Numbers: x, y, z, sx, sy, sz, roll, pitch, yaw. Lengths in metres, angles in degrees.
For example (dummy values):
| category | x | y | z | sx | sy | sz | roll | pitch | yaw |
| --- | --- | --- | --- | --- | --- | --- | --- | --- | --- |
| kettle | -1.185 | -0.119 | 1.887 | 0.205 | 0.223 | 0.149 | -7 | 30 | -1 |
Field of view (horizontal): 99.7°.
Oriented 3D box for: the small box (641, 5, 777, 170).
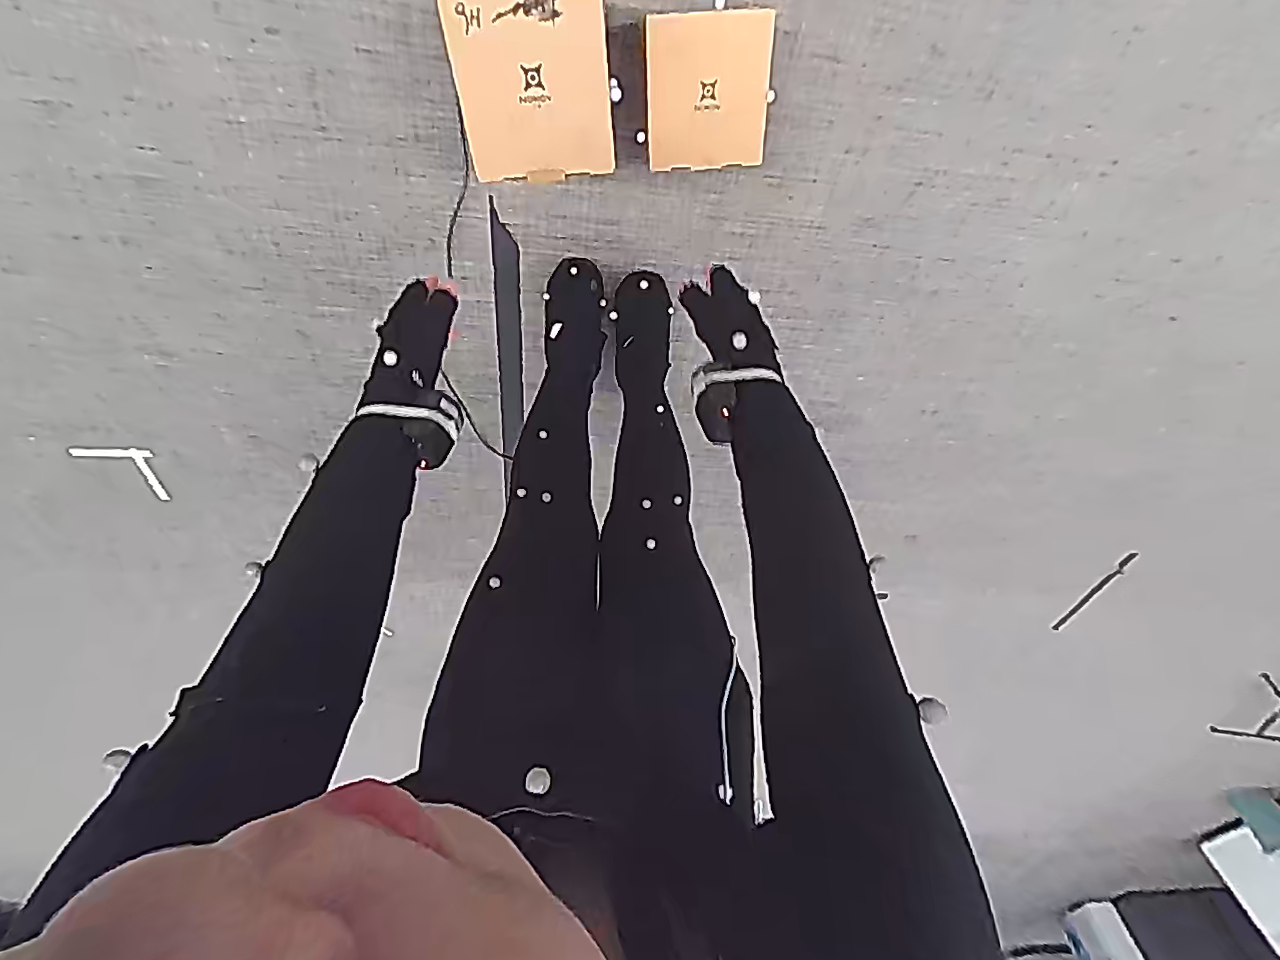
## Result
| category | x | y | z | sx | sy | sz | roll | pitch | yaw |
| --- | --- | --- | --- | --- | --- | --- | --- | --- | --- |
| small box | 0.089 | -0.570 | 0.788 | 0.168 | 0.176 | 0.179 | -4 | 131 | 0 |

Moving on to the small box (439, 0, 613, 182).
| category | x | y | z | sx | sy | sz | roll | pitch | yaw |
| --- | --- | --- | --- | --- | --- | --- | --- | --- | --- |
| small box | -0.118 | -0.474 | 0.642 | 0.168 | 0.176 | 0.179 | -4 | 131 | -1 |

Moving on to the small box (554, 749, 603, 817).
| category | x | y | z | sx | sy | sz | roll | pitch | yaw |
| --- | --- | --- | --- | --- | --- | --- | --- | --- | --- |
| small box | -0.215 | 1.070 | 1.912 | 0.168 | 0.176 | 0.179 | 3 | 131 | -4 |

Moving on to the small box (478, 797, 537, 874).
| category | x | y | z | sx | sy | sz | roll | pitch | yaw |
| --- | --- | --- | --- | --- | --- | --- | --- | --- | --- |
| small box | -0.426 | 1.158 | 1.760 | 0.168 | 0.176 | 0.179 | 5 | 129 | -7 |
